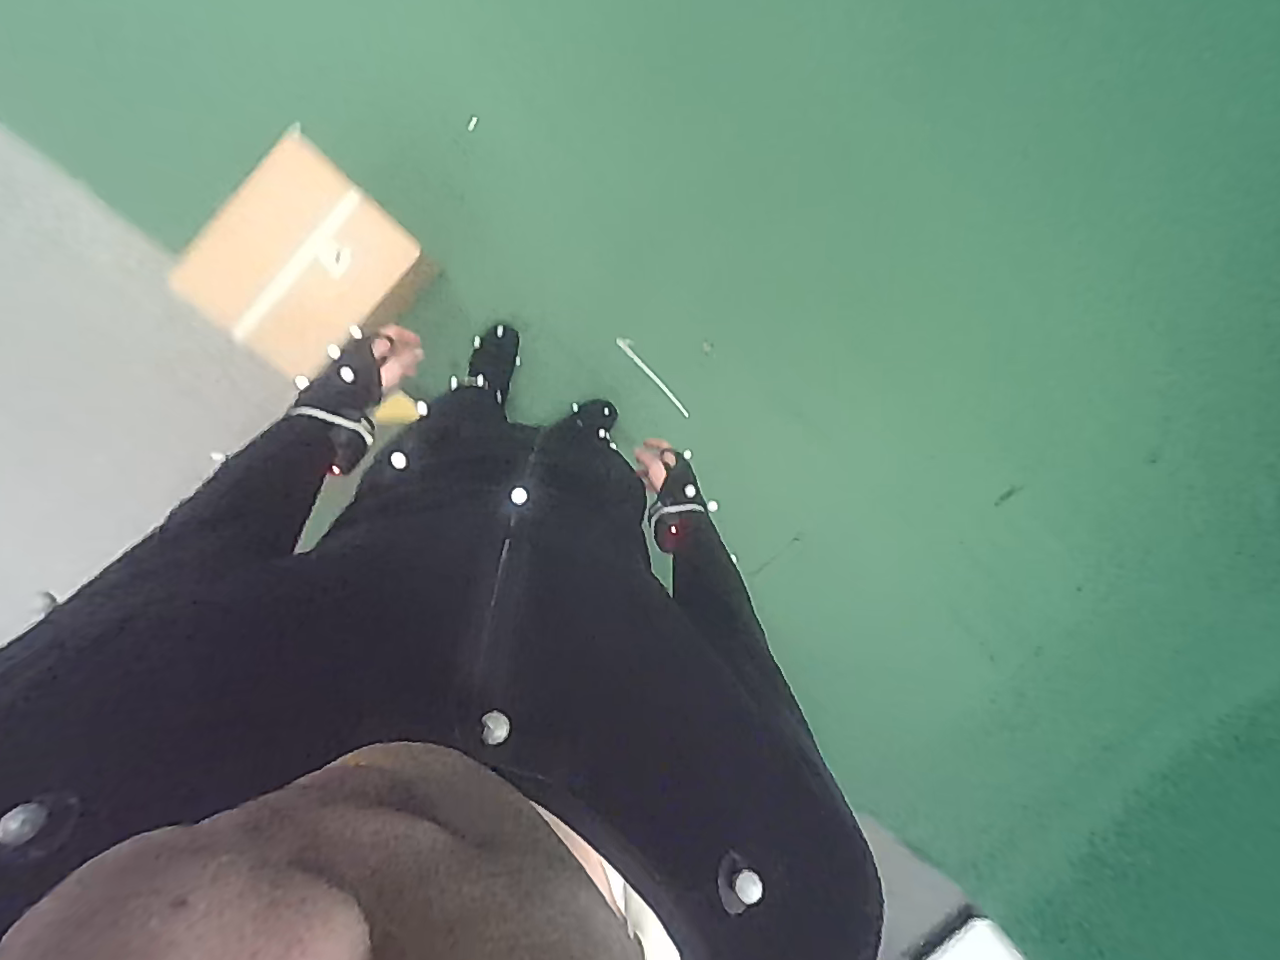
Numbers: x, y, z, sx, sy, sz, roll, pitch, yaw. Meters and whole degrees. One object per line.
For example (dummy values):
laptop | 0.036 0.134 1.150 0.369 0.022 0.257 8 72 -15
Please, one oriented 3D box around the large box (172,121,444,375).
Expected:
large box | -0.731 -0.503 1.259 0.408 0.320 0.320 -45 109 4
